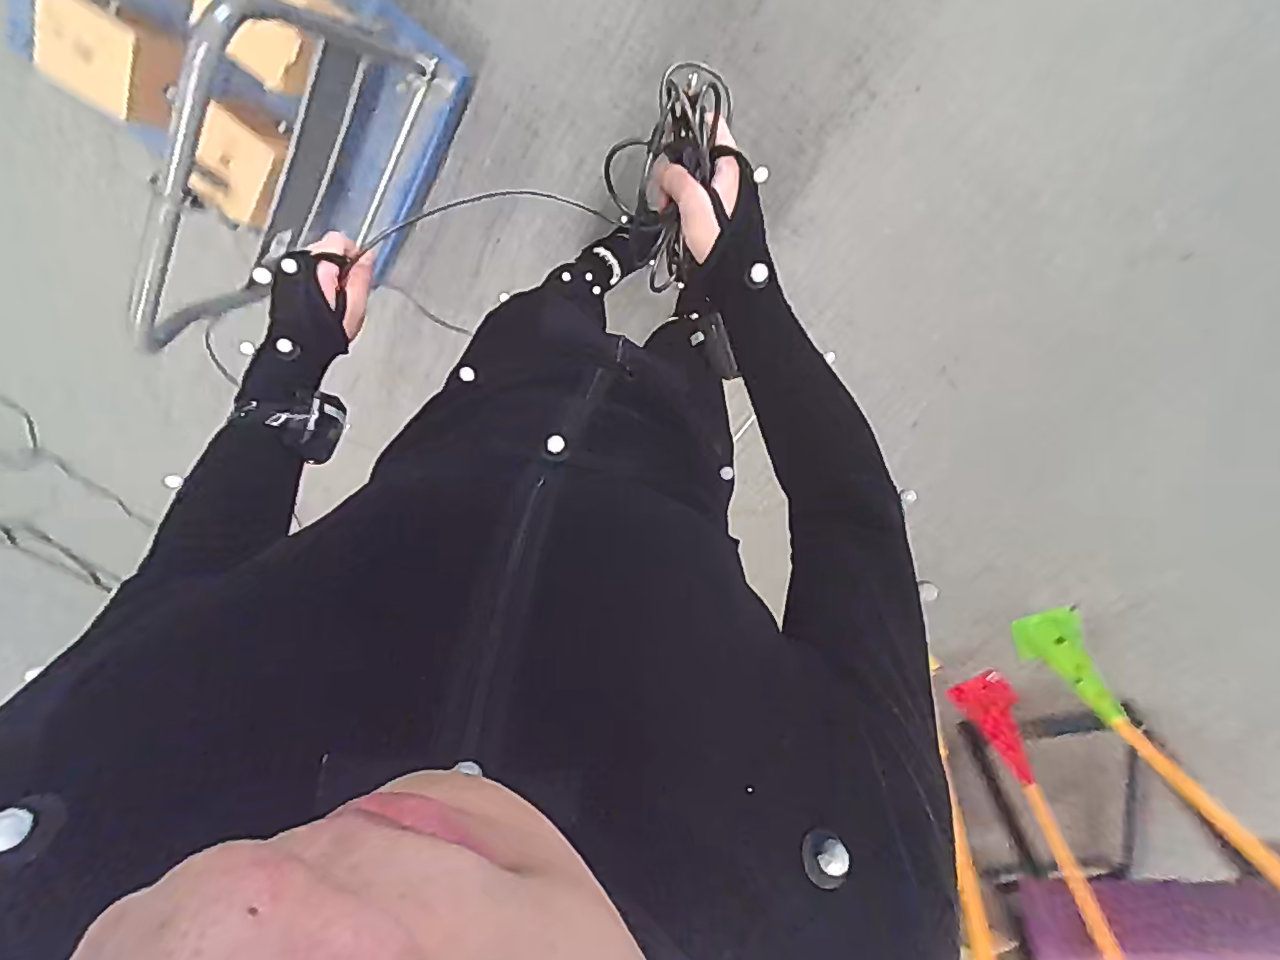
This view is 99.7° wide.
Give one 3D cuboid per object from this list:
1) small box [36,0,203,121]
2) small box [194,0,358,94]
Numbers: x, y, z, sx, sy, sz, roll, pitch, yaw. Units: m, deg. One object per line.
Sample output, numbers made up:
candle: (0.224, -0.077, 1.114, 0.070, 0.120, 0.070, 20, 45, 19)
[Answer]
small box: (-1.039, -0.858, 1.091, 0.179, 0.176, 0.168, 32, 117, -11)
small box: (-0.690, -0.884, 1.041, 0.179, 0.176, 0.168, 36, 117, -14)
